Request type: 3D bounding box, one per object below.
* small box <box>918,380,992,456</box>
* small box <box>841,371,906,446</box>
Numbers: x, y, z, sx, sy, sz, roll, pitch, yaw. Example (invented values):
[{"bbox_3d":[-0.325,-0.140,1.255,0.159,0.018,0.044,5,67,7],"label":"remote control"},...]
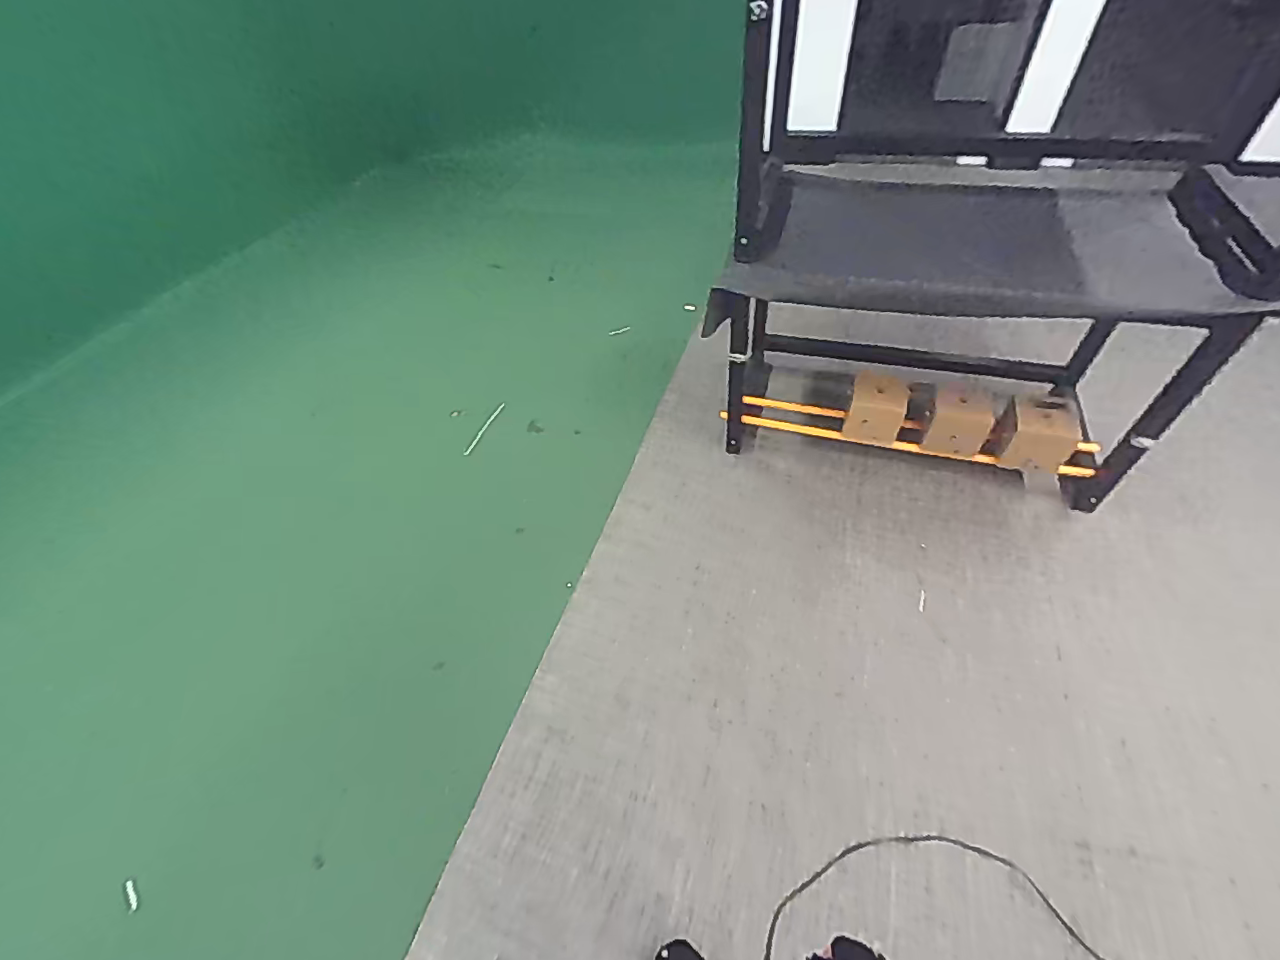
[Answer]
[{"bbox_3d":[1.022,-0.200,1.766,0.168,0.176,0.179,11,52,15],"label":"small box"},{"bbox_3d":[0.787,-0.239,1.829,0.168,0.176,0.179,12,53,15],"label":"small box"}]
